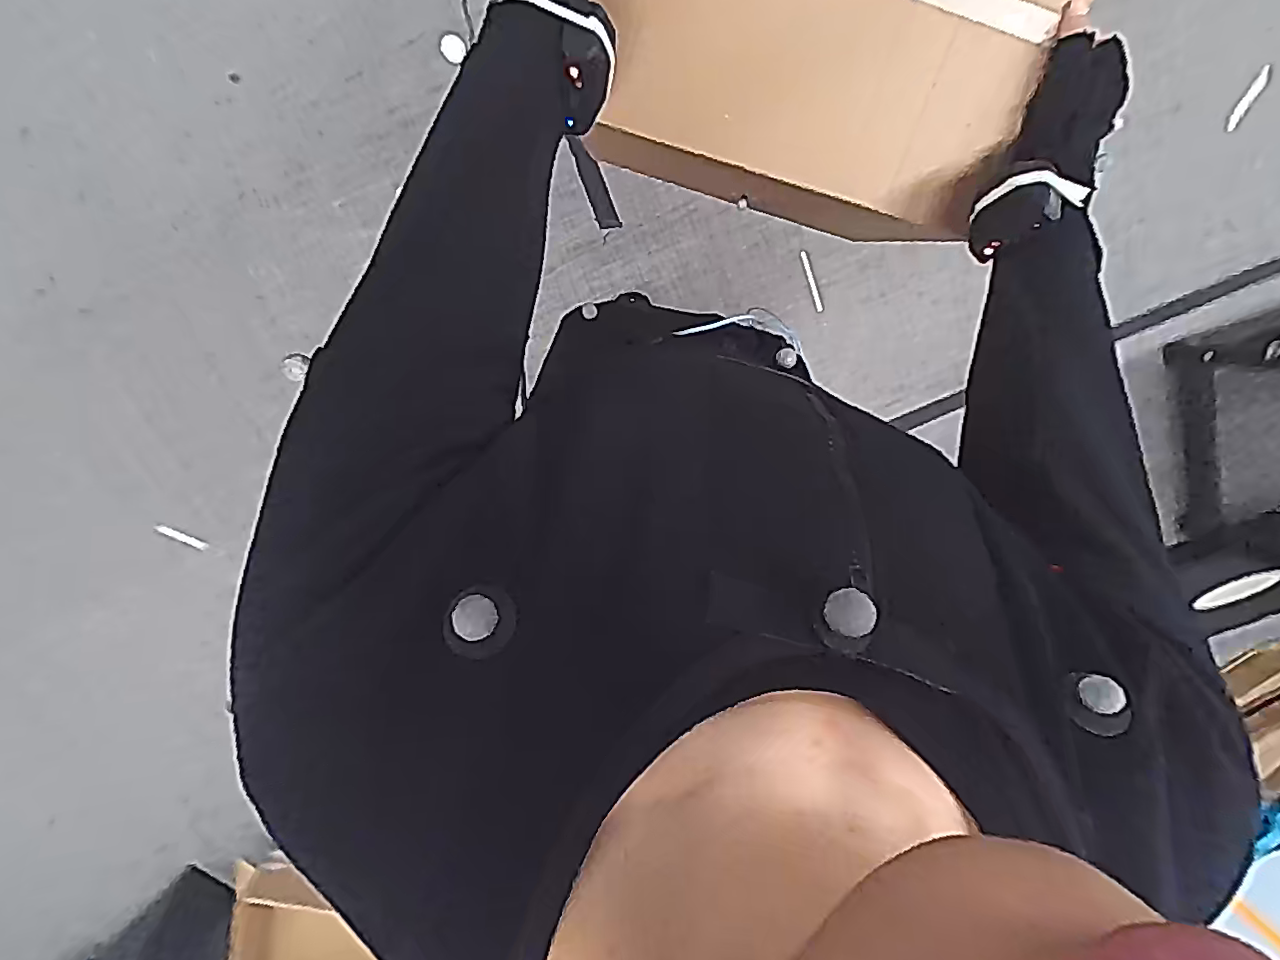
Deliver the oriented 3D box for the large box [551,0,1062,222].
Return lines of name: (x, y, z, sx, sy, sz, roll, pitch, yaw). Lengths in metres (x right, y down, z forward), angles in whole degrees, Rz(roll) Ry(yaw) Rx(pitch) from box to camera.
large box: (0.153, -0.485, 0.568, 0.408, 0.320, 0.320, 14, 113, -5)
